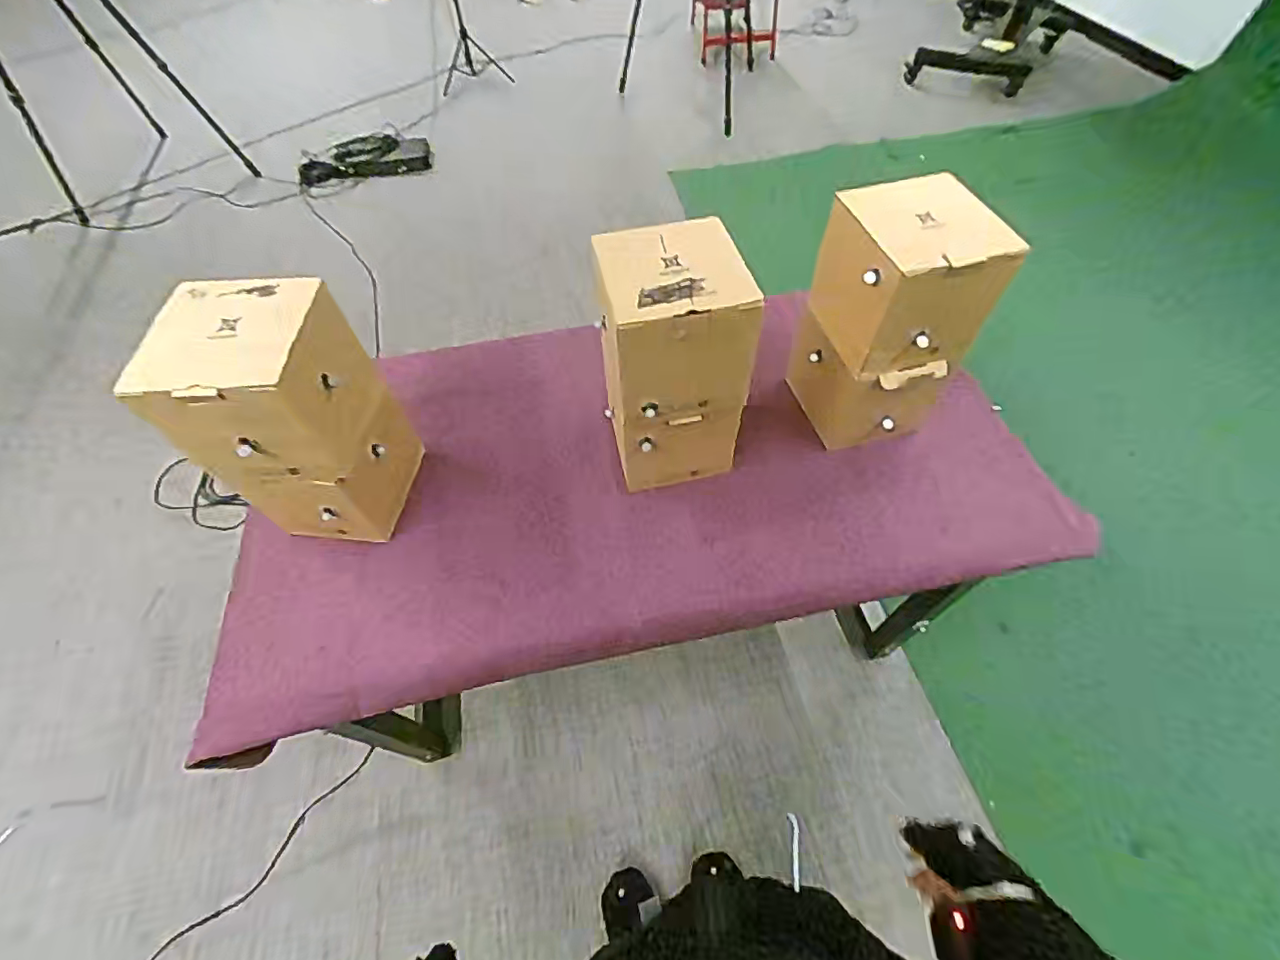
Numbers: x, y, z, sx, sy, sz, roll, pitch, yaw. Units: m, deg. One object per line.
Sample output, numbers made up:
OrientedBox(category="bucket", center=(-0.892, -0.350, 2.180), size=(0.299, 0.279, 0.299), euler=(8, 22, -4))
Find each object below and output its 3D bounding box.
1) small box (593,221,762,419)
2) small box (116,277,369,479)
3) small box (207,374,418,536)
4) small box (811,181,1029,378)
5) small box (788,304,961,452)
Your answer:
OrientedBox(category="small box", center=(0.041, -0.194, 0.687), size=(0.168, 0.176, 0.179), euler=(-11, 55, -6))
OrientedBox(category="small box", center=(-0.446, -0.113, 0.650), size=(0.168, 0.176, 0.179), euler=(-5, 57, -2))
OrientedBox(category="small box", center=(-0.444, -0.035, 0.772), size=(0.168, 0.176, 0.179), euler=(5, 57, 4))
OrientedBox(category="small box", center=(0.354, -0.266, 0.729), size=(0.168, 0.176, 0.179), euler=(-13, 58, -7))
OrientedBox(category="small box", center=(0.355, -0.173, 0.862), size=(0.168, 0.176, 0.179), euler=(-14, 58, -7))
